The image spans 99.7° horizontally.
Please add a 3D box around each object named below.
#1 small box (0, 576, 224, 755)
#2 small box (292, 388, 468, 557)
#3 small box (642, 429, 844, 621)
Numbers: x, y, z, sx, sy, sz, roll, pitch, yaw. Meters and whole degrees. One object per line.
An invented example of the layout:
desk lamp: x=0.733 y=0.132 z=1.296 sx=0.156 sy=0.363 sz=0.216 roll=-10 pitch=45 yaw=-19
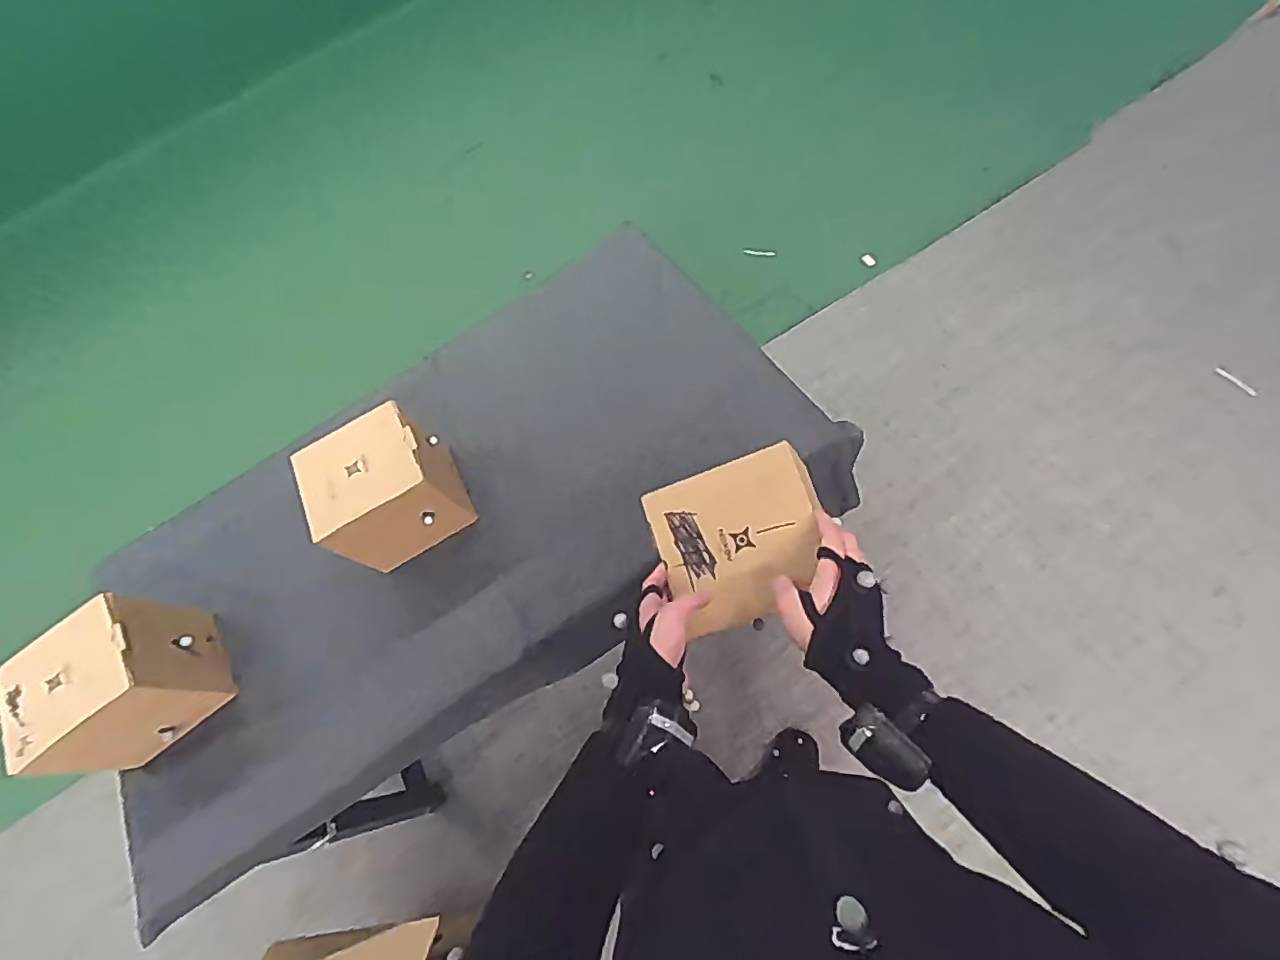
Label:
small box: x=-0.761 y=0.272 z=0.795 sx=0.179 sy=0.176 sz=0.168 roll=-37 pitch=65 yaw=-8
small box: x=-0.394 y=-0.004 z=0.848 sx=0.179 sy=0.176 sz=0.168 roll=-31 pitch=64 yaw=-2
small box: x=0.128 y=0.061 z=0.639 sx=0.179 sy=0.176 sz=0.168 roll=-20 pitch=75 yaw=18
